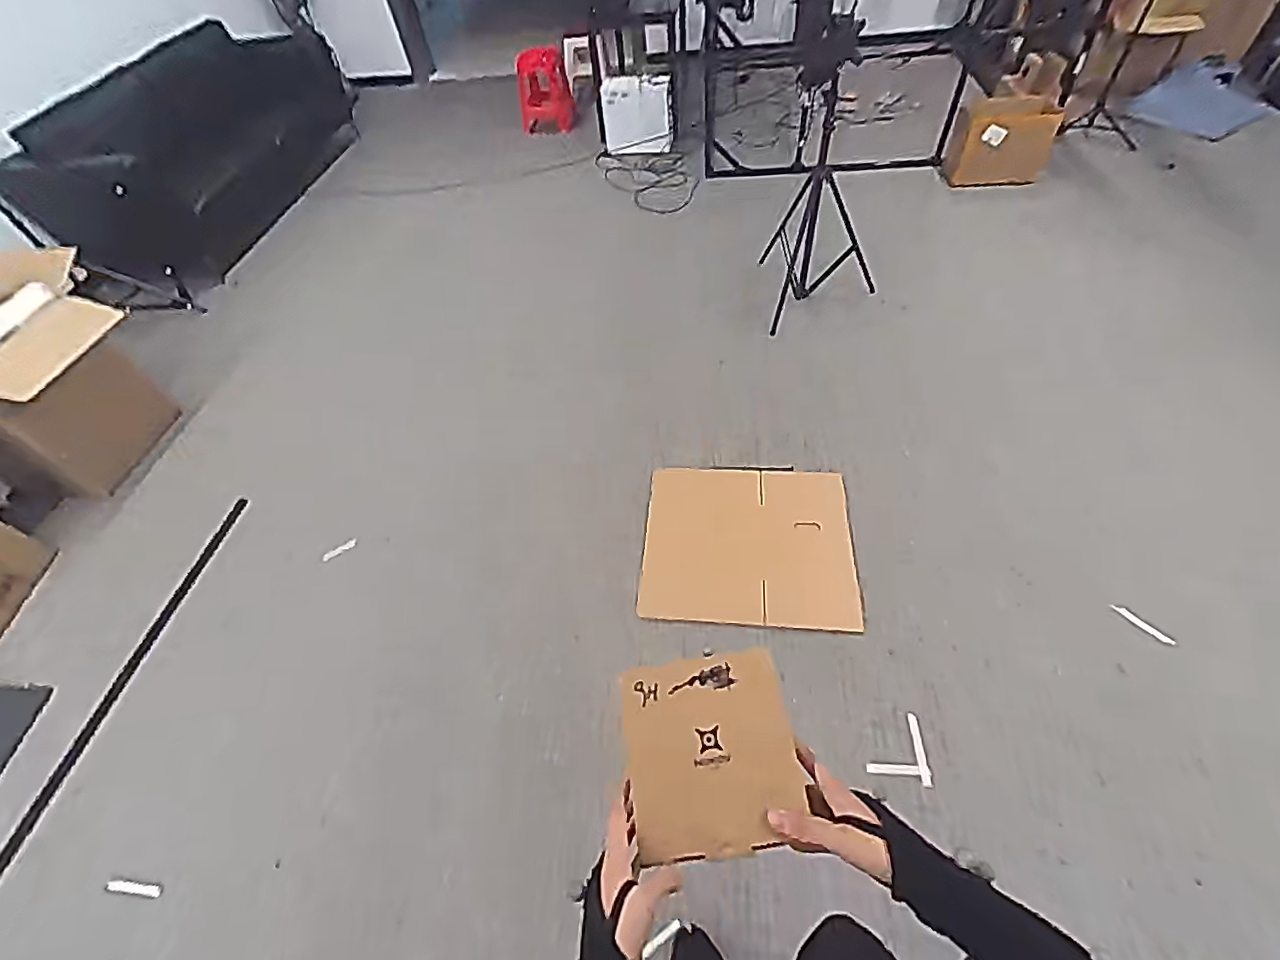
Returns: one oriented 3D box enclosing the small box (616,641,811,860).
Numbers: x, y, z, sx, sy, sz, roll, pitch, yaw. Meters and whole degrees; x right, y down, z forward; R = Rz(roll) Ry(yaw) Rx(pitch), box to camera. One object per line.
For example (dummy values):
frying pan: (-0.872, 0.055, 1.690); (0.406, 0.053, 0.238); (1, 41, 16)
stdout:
small box: (0.071, 0.288, 0.596); (0.168, 0.176, 0.179); (-9, 65, -1)
